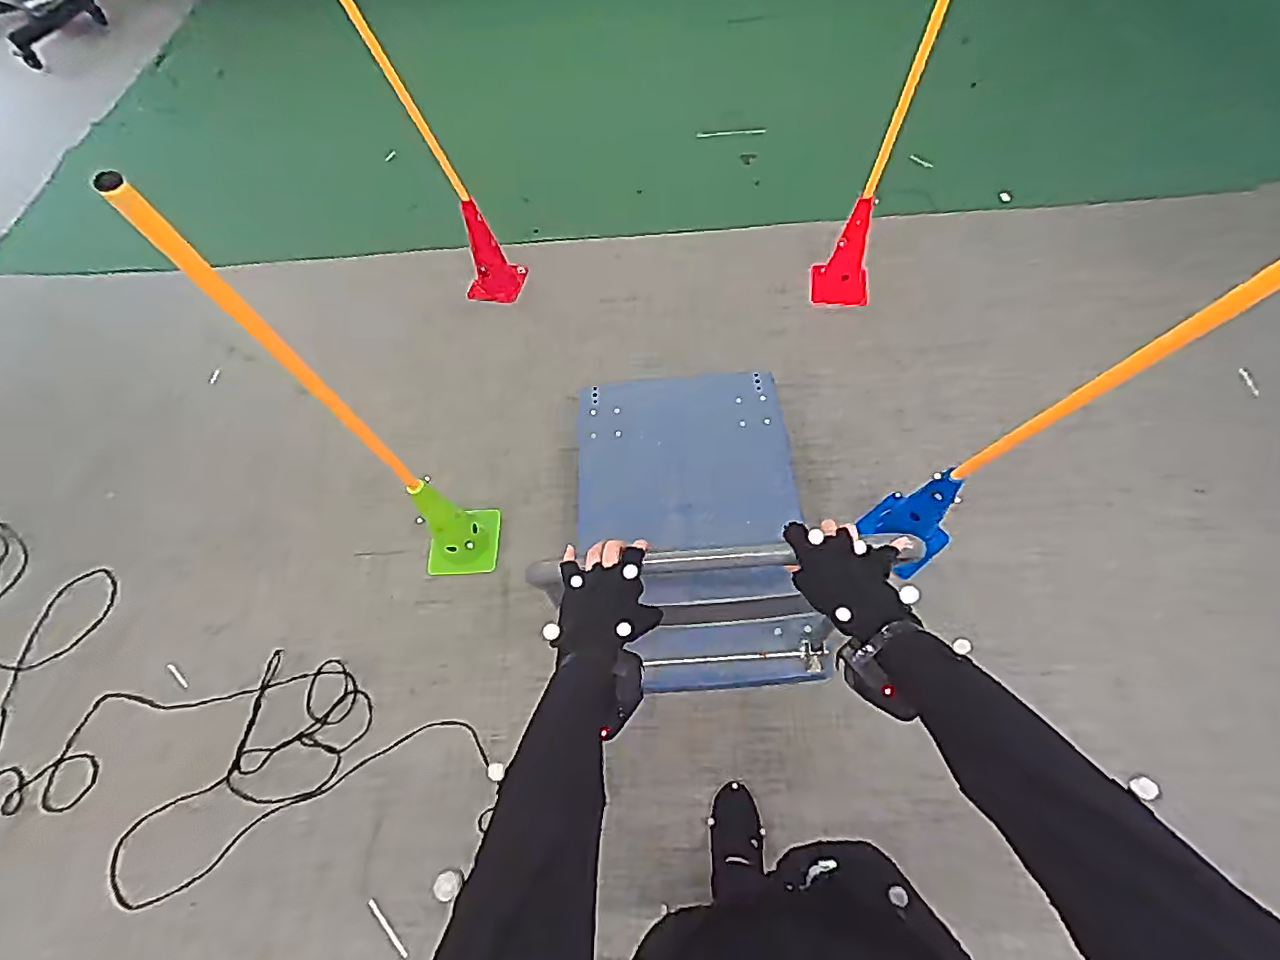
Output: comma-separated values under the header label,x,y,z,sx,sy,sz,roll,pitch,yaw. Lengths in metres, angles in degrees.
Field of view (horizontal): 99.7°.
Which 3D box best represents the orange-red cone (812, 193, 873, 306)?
label,x,y,z,sx,sy,sz,roll,pitch,yaw
orange-red cone,0.716,-0.788,1.819,0.198,0.360,0.199,7,64,9
